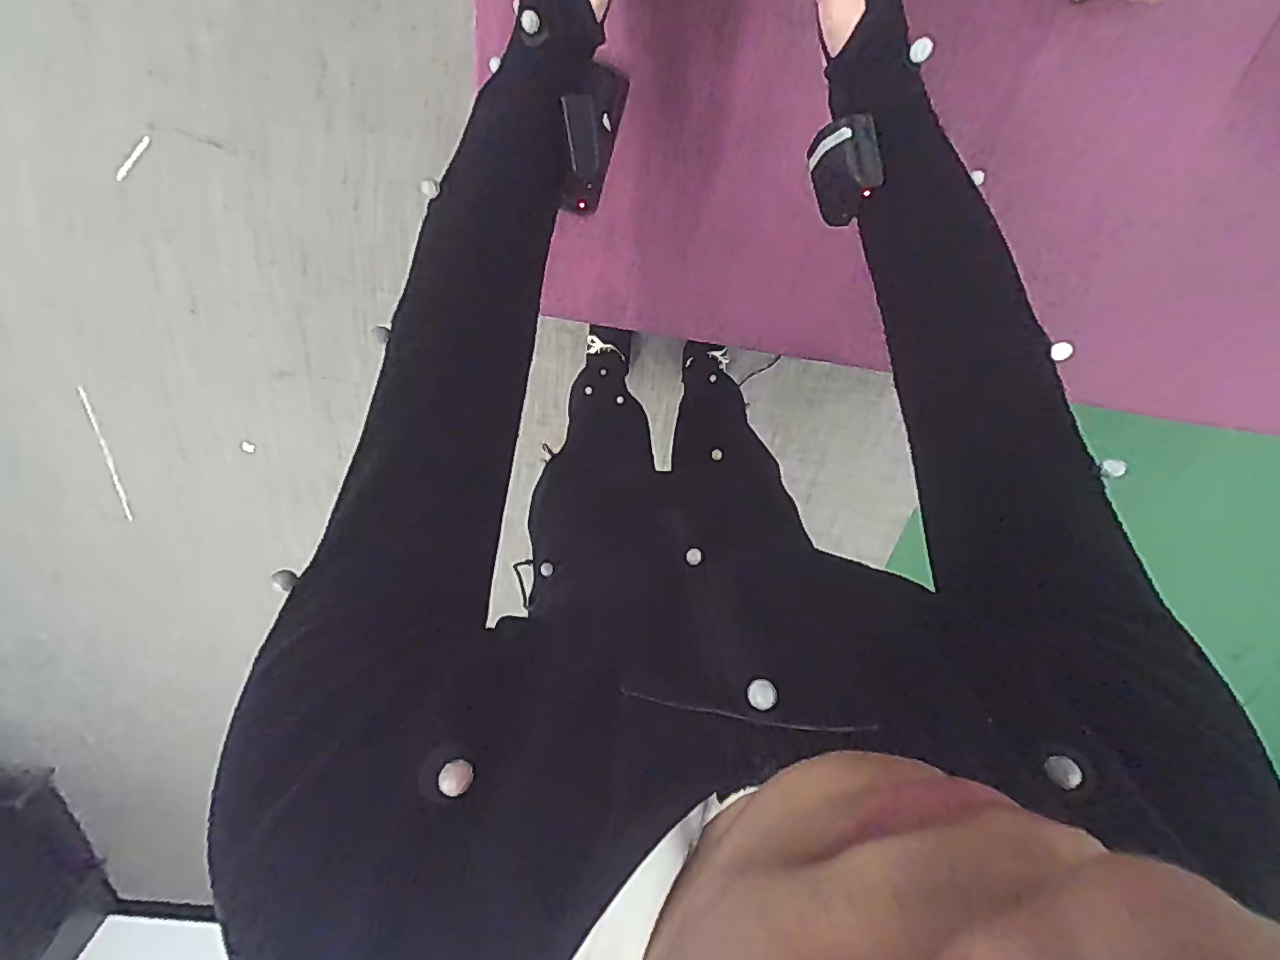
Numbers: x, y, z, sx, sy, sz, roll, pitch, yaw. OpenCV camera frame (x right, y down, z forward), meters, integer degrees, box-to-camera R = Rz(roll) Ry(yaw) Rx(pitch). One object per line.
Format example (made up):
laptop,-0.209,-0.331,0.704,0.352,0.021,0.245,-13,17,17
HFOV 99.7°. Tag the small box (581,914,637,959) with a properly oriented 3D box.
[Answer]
small box,-0.106,1.615,1.828,0.168,0.176,0.179,13,119,-7
